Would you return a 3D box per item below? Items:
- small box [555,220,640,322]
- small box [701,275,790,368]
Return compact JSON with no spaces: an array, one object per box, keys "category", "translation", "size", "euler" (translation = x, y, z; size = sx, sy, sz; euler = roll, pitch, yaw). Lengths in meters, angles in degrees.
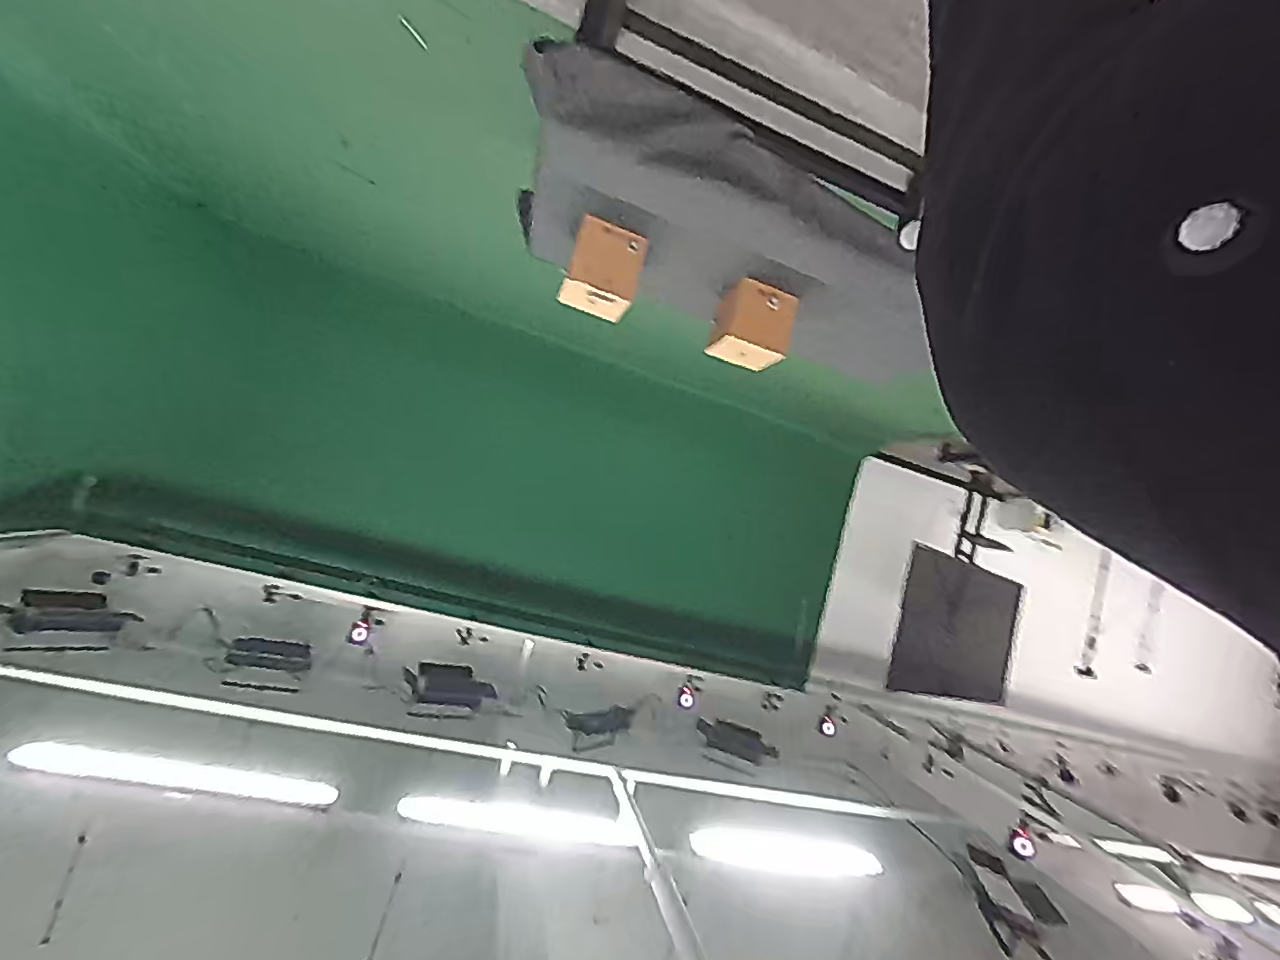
[{"category":"small box","translation":[-0.110,-0.533,1.387],"size":[0.168,0.176,0.179],"euler":[16,176,-16]},{"category":"small box","translation":[0.288,-0.426,1.473],"size":[0.168,0.176,0.179],"euler":[14,174,-13]}]
